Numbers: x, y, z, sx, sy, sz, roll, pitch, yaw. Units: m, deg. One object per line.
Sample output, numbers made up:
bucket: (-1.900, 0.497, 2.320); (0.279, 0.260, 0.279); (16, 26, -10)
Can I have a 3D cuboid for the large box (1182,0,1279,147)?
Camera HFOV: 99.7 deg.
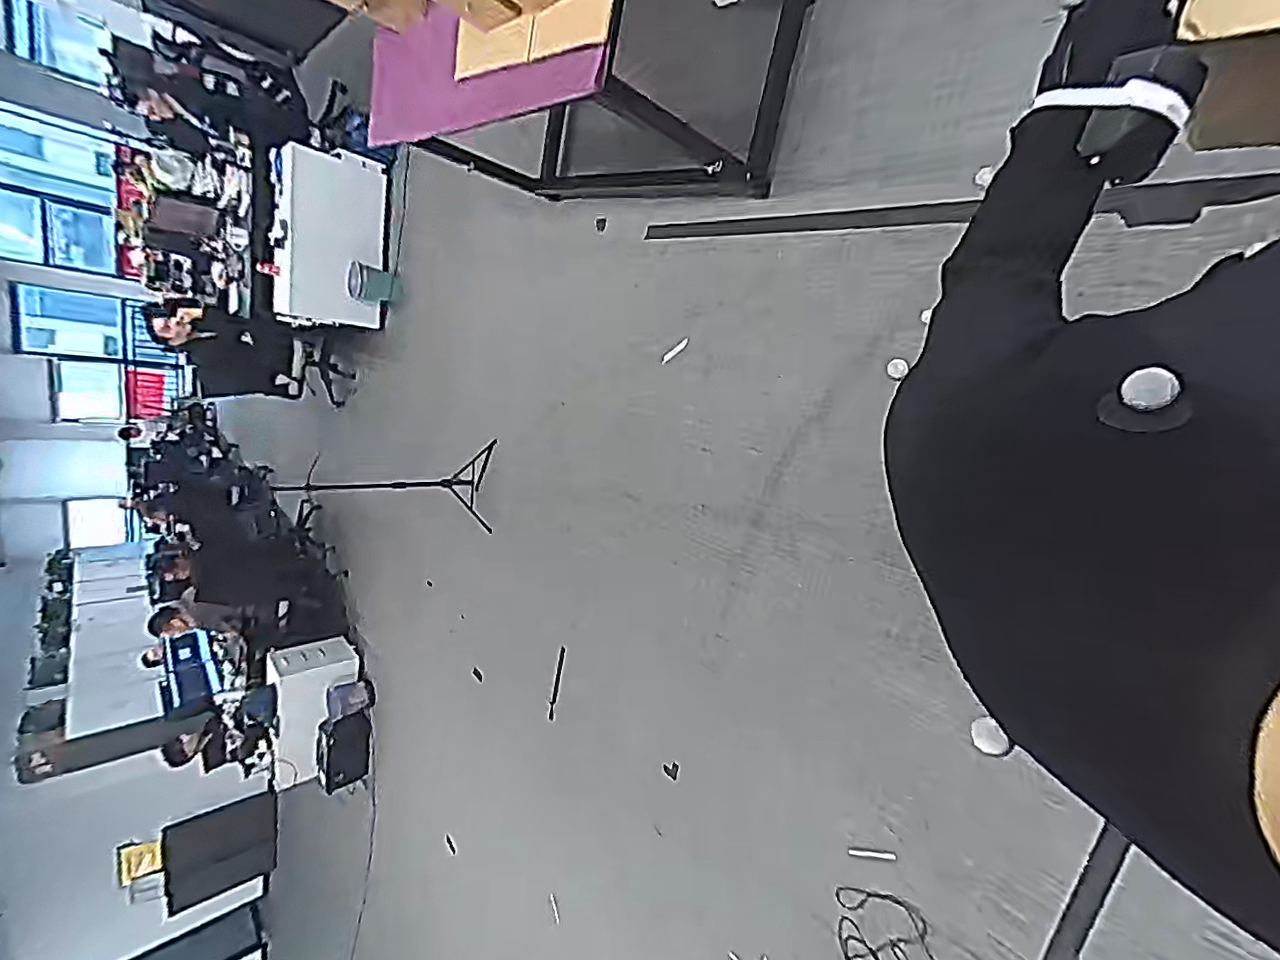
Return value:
large box: (0.613, -0.403, 0.283); (0.408, 0.320, 0.320); (24, 118, 40)
